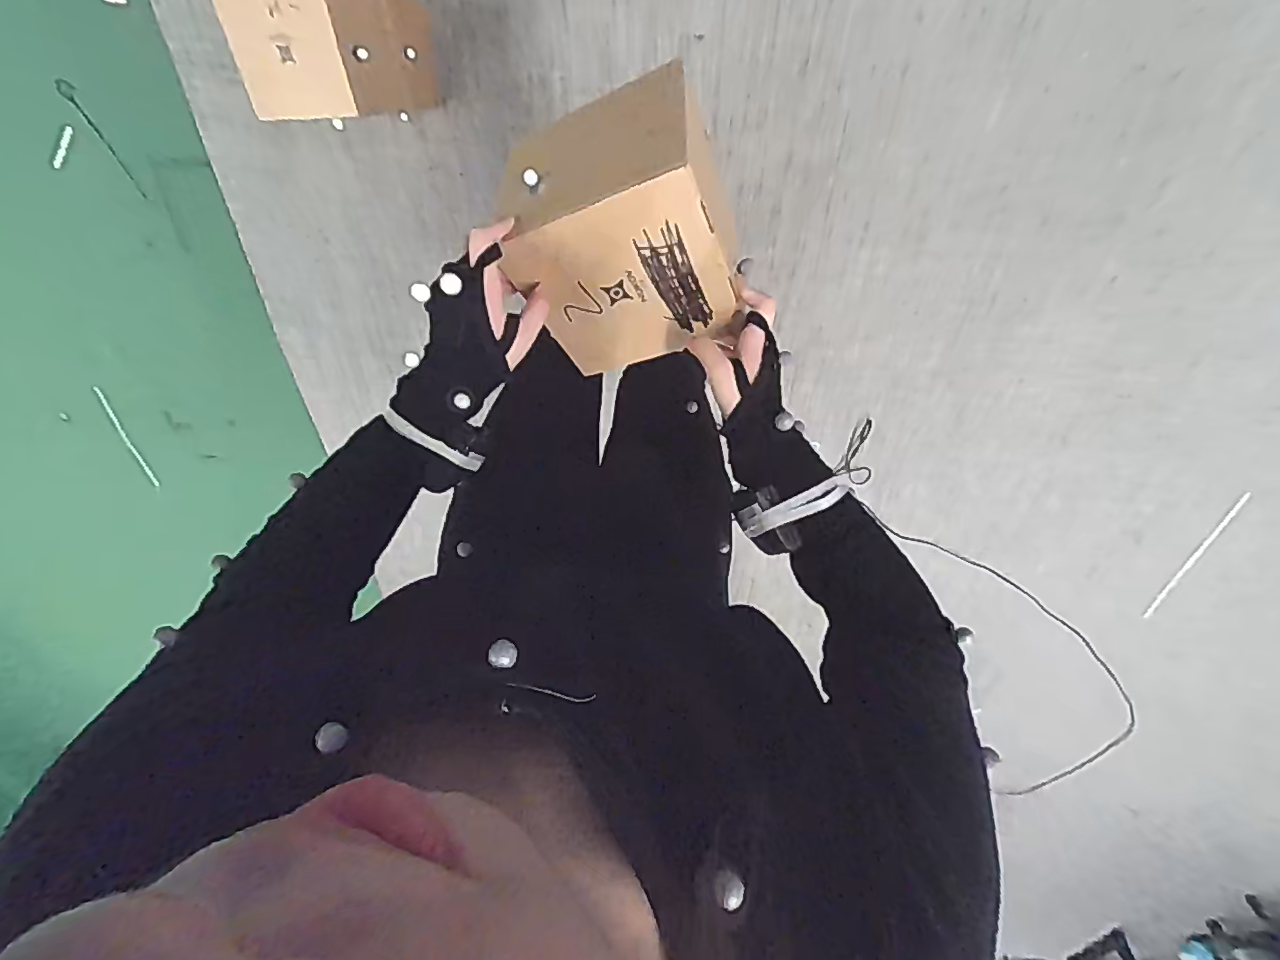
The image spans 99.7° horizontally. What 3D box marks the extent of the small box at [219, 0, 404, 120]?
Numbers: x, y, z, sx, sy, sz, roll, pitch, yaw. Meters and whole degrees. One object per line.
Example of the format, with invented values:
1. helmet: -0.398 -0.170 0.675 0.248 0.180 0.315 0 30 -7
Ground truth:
1. small box: -0.496 -0.673 0.841 0.168 0.176 0.179 2 127 5

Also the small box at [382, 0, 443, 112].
1. small box: -0.475 -0.773 0.970 0.168 0.176 0.179 4 126 5
